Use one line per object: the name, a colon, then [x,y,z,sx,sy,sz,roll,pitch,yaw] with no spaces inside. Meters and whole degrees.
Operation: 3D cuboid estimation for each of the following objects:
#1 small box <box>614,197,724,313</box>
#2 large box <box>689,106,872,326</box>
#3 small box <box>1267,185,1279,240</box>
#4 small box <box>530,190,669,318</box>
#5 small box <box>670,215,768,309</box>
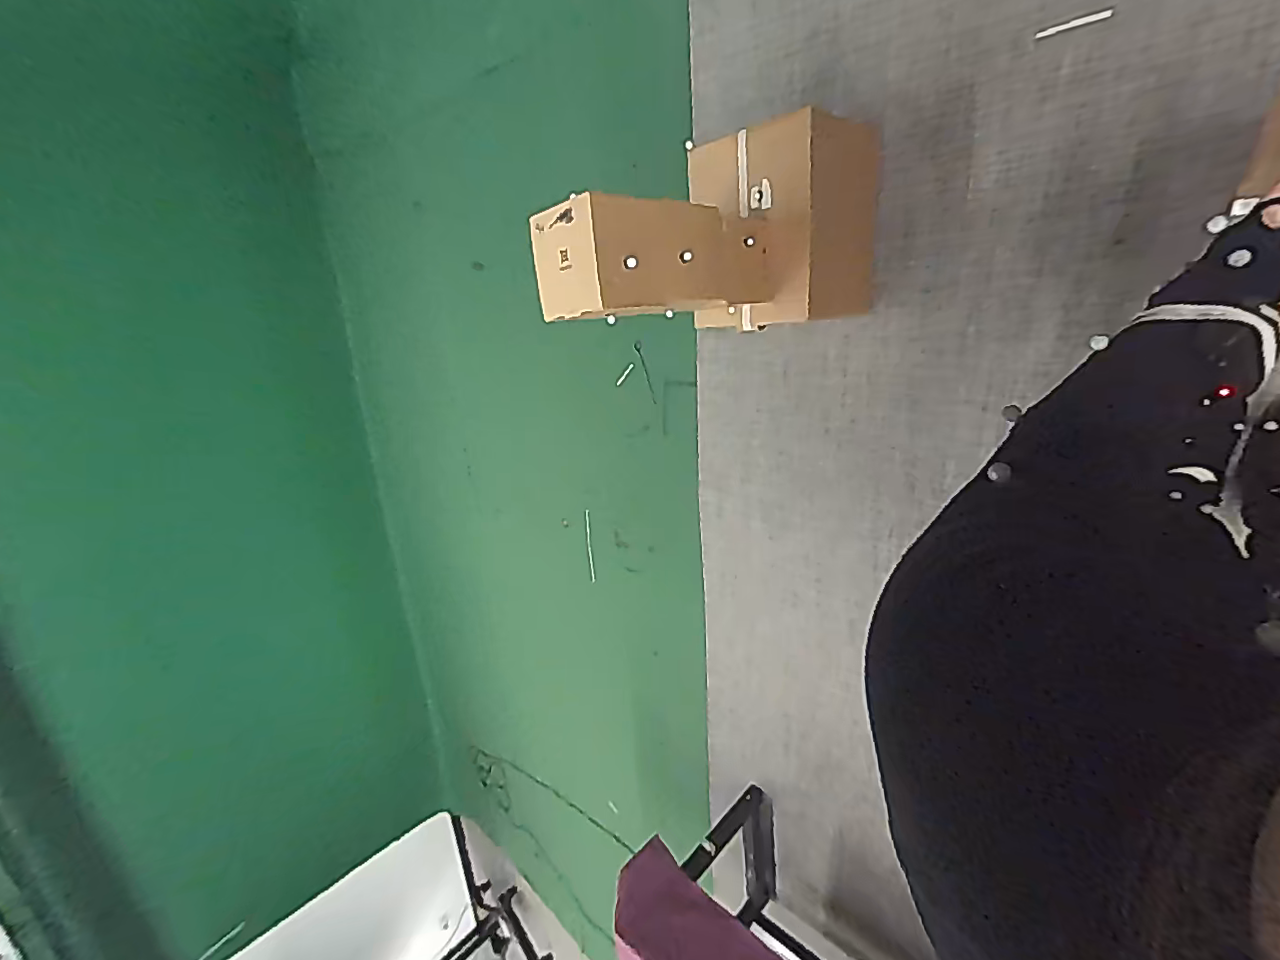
small box: [0.049,-0.431,1.057,0.168,0.176,0.179,5,108,45]
large box: [0.340,-0.593,1.300,0.320,0.320,0.408,12,113,43]
small box: [0.801,-0.344,0.557,0.168,0.176,0.179,20,116,40]
small box: [-0.065,-0.387,0.946,0.168,0.176,0.179,8,111,44]
small box: [0.163,-0.466,1.169,0.179,0.176,0.168,11,112,44]
